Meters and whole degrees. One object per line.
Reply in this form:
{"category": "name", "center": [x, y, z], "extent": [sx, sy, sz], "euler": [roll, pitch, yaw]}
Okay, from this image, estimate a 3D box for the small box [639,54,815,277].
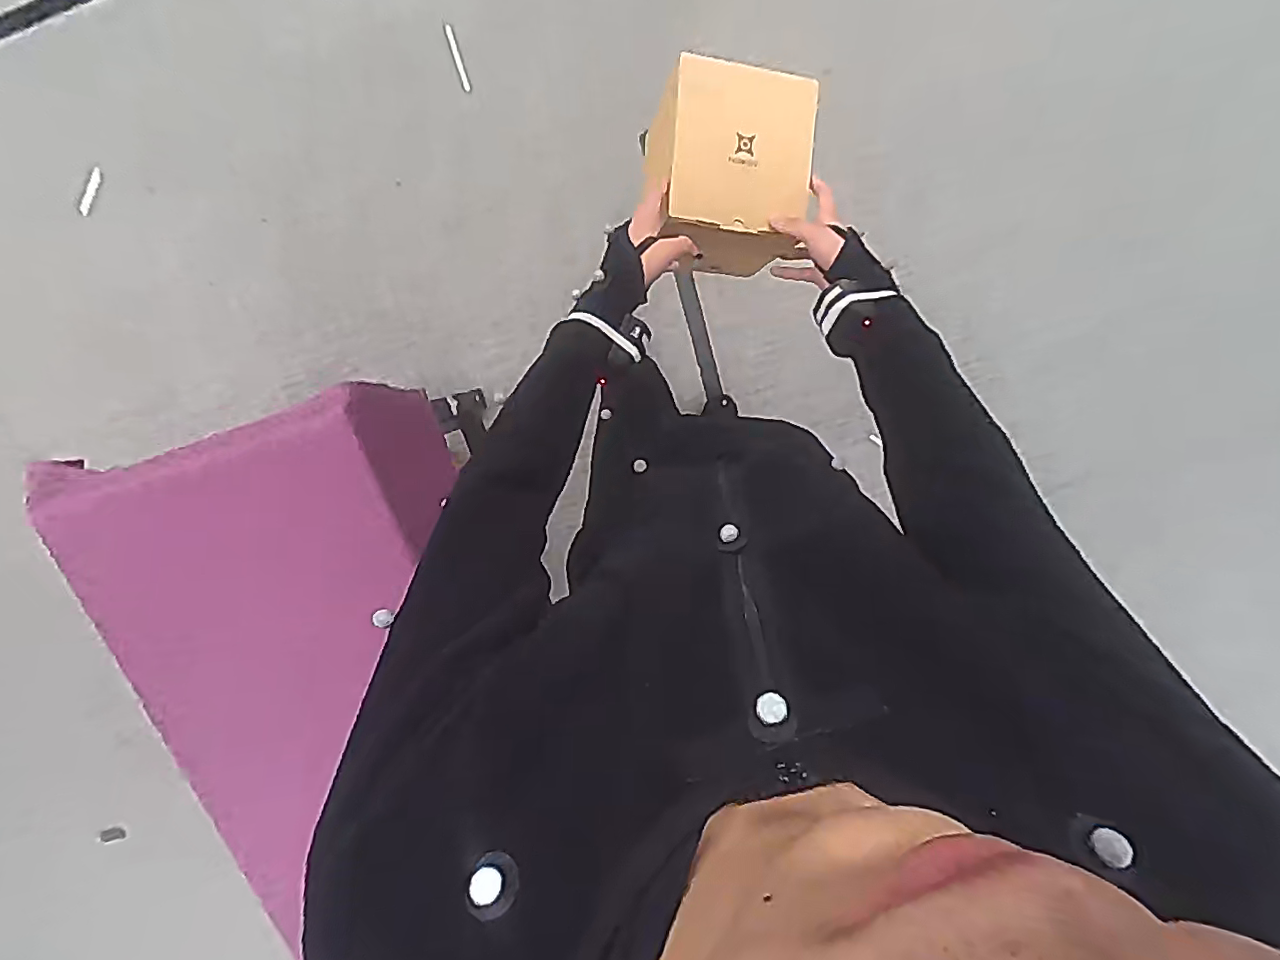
{"category": "small box", "center": [0.098, -0.376, 0.682], "extent": [0.168, 0.176, 0.179], "euler": [3, 96, -12]}
